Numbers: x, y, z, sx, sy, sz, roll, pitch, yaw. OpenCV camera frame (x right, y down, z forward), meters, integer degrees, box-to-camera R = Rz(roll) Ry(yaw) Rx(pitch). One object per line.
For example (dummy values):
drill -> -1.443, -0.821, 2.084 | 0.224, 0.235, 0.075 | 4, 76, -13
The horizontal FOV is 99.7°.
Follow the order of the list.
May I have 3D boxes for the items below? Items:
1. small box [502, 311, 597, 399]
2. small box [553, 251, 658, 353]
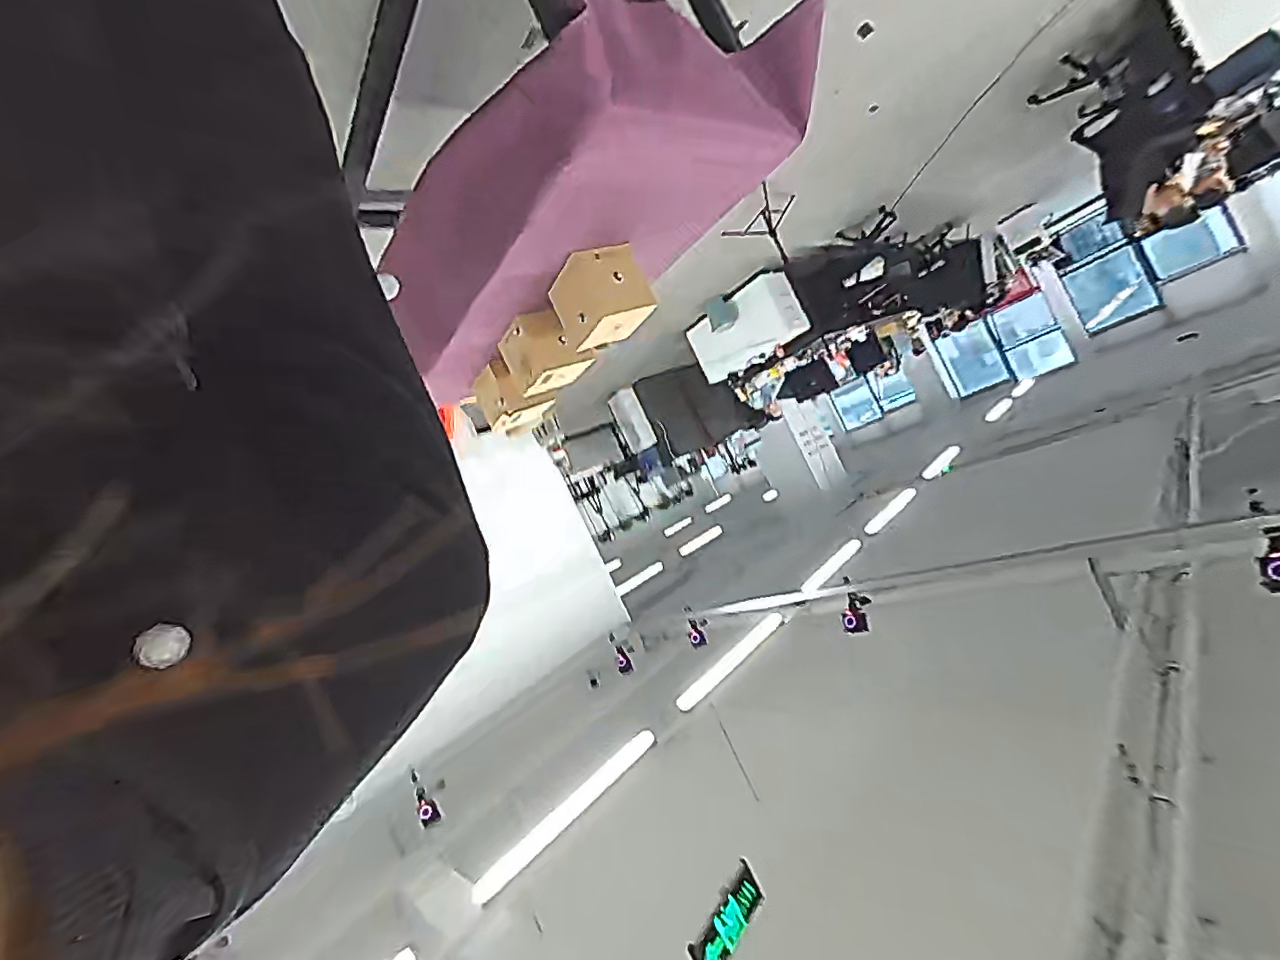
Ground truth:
small box -> -0.259, -0.355, 1.515 | 0.179, 0.176, 0.168 | -26, 179, -36
small box -> -0.092, -0.443, 1.327 | 0.168, 0.176, 0.179 | -25, 178, -32
